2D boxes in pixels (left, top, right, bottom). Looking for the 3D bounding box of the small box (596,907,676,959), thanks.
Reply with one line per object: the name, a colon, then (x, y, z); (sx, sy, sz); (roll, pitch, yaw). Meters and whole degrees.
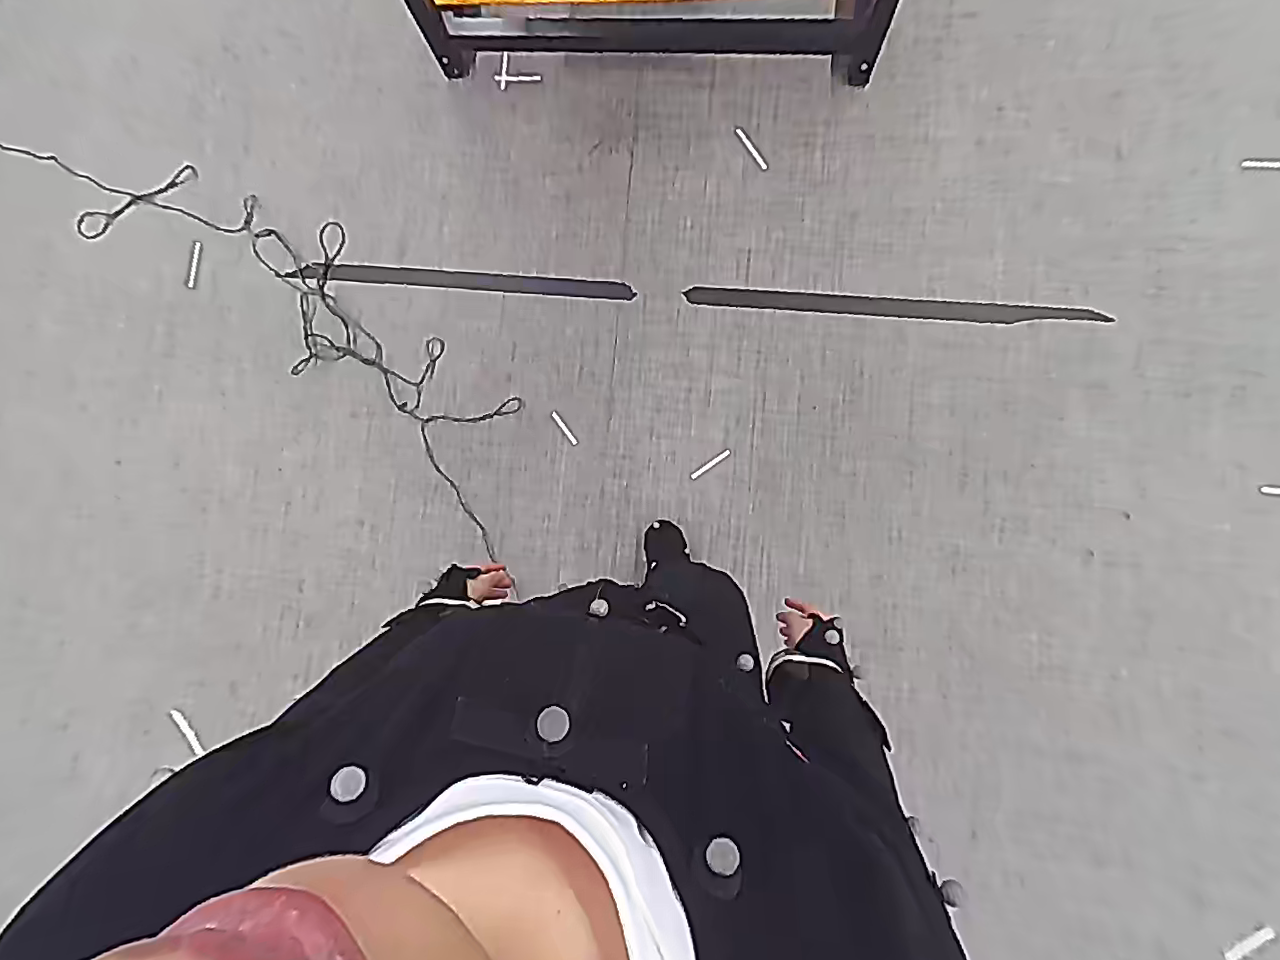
small box: (-0.011, 1.125, 1.227); (0.179, 0.176, 0.168); (5, 85, 6)
